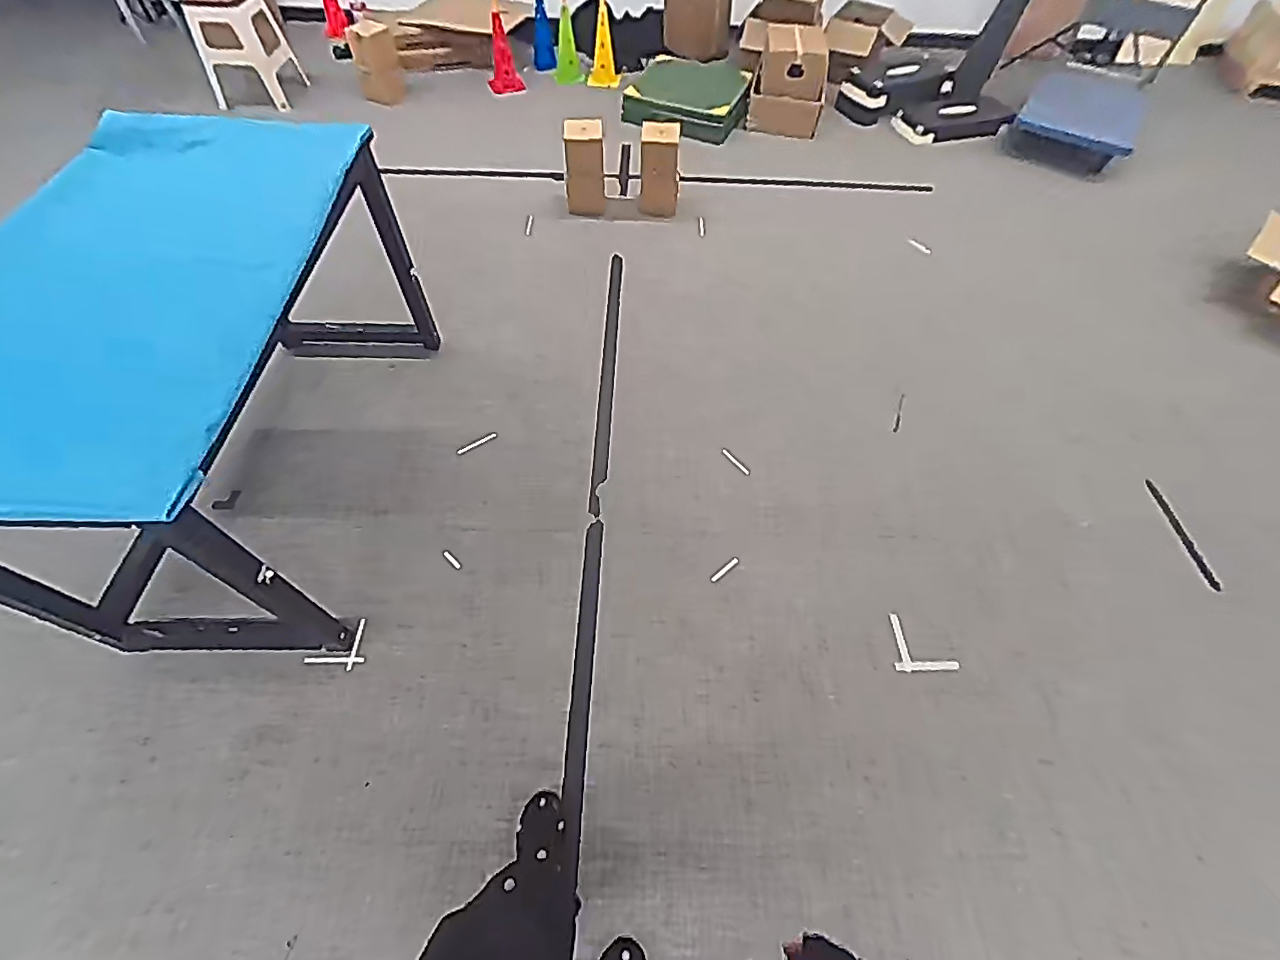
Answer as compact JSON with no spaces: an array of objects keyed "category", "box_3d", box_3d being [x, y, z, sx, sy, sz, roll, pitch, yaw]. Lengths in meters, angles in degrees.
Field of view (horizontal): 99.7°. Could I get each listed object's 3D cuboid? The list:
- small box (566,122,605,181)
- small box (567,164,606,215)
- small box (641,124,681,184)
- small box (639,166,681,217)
[{"category":"small box","box_3d":[-0.242,-1.464,2.411,0.168,0.176,0.179,-2,57,-3]},{"category":"small box","box_3d":[-0.248,-1.369,2.545,0.179,0.176,0.168,0,57,-3]},{"category":"small box","box_3d":[0.093,-1.463,2.429,0.168,0.176,0.179,4,58,1]},{"category":"small box","box_3d":[0.095,-1.377,2.568,0.179,0.176,0.168,6,56,0]}]
